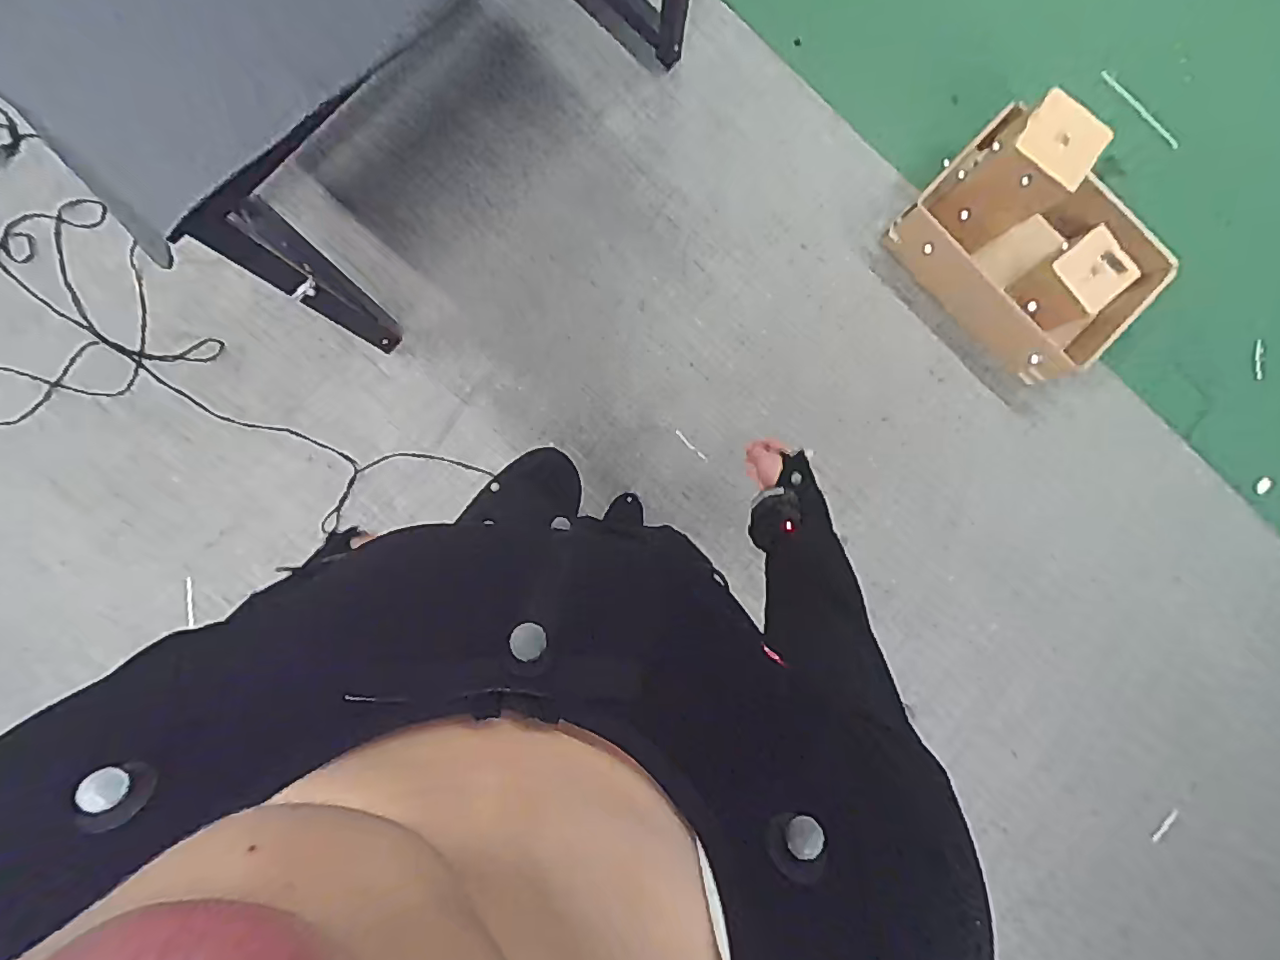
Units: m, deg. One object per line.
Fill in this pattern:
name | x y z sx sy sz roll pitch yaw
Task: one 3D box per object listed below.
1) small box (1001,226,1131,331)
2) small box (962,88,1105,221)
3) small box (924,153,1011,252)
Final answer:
small box | 1.127 -0.531 1.446 0.179 0.176 0.168 -39 91 -2
small box | 0.910 -0.749 1.269 0.179 0.176 0.168 36 89 -5
small box | 0.904 -0.745 1.434 0.168 0.176 0.179 -44 91 -2
